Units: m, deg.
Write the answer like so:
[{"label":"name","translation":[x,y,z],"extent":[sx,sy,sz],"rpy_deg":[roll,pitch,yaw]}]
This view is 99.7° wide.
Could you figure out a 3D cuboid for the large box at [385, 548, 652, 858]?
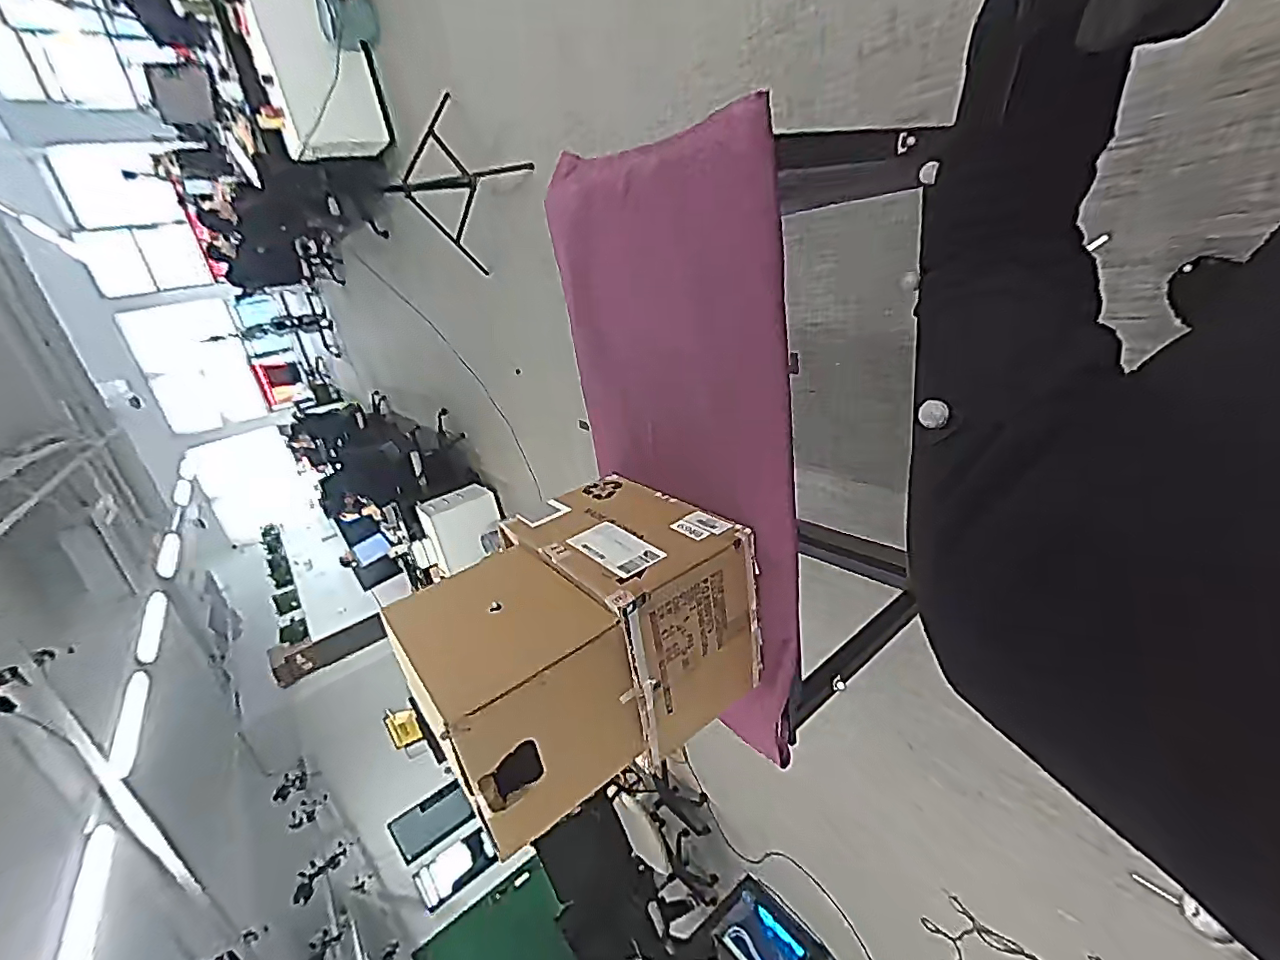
[{"label":"large box","translation":[-0.236,0.373,1.030],"extent":[0.408,0.320,0.320],"rpy_deg":[19,128,50]}]
